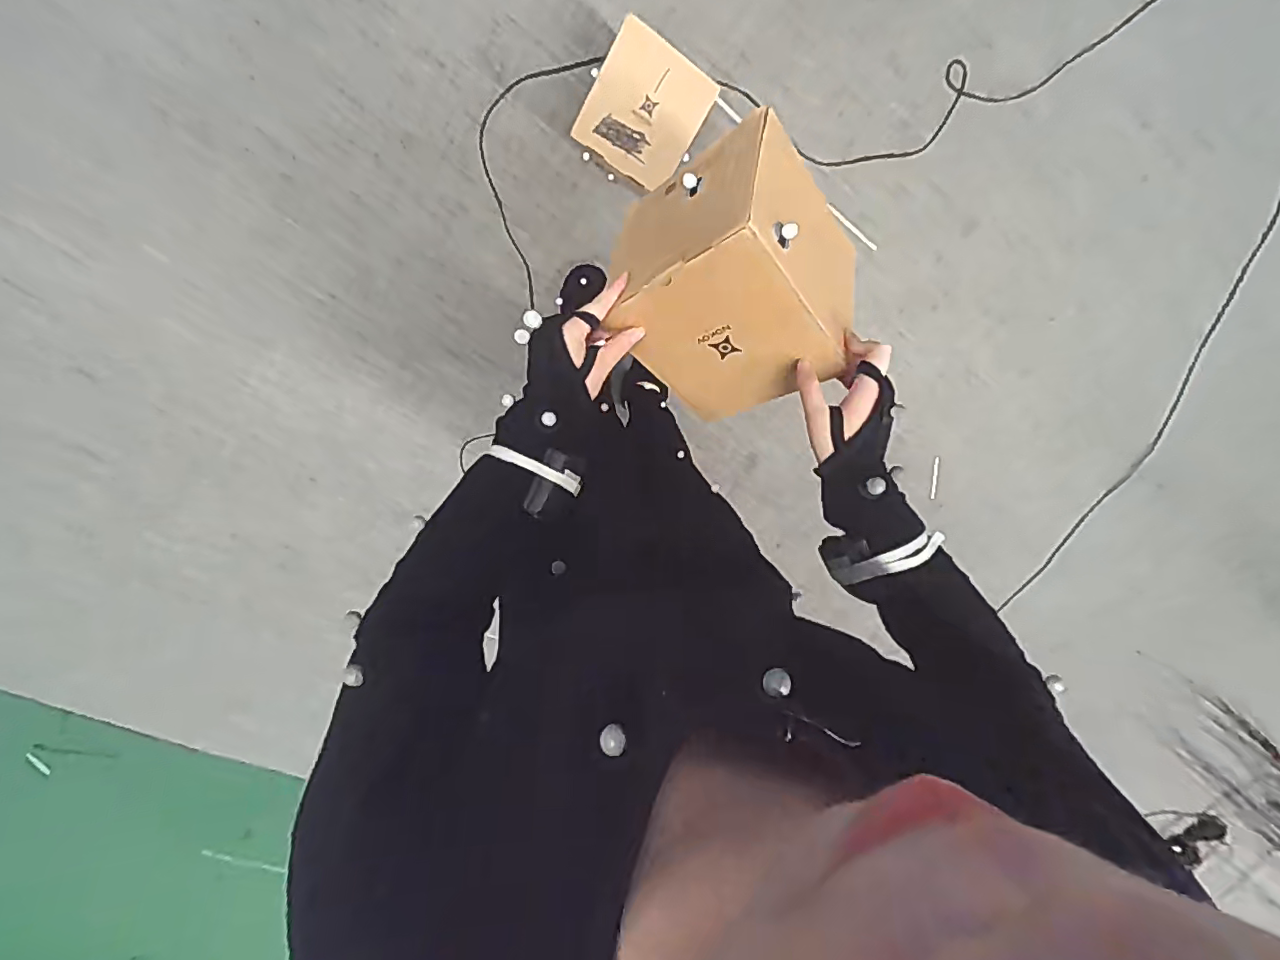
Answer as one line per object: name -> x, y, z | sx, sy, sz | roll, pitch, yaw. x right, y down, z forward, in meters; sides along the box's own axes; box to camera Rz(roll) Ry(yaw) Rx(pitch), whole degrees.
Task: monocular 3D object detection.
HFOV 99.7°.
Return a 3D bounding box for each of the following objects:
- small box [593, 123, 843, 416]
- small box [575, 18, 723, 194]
small box -> 0.088, -0.197, 0.536 | 0.168, 0.176, 0.179 | -17, 137, 42
small box -> 0.010, -0.592, 0.890 | 0.168, 0.176, 0.179 | 27, 113, -17
